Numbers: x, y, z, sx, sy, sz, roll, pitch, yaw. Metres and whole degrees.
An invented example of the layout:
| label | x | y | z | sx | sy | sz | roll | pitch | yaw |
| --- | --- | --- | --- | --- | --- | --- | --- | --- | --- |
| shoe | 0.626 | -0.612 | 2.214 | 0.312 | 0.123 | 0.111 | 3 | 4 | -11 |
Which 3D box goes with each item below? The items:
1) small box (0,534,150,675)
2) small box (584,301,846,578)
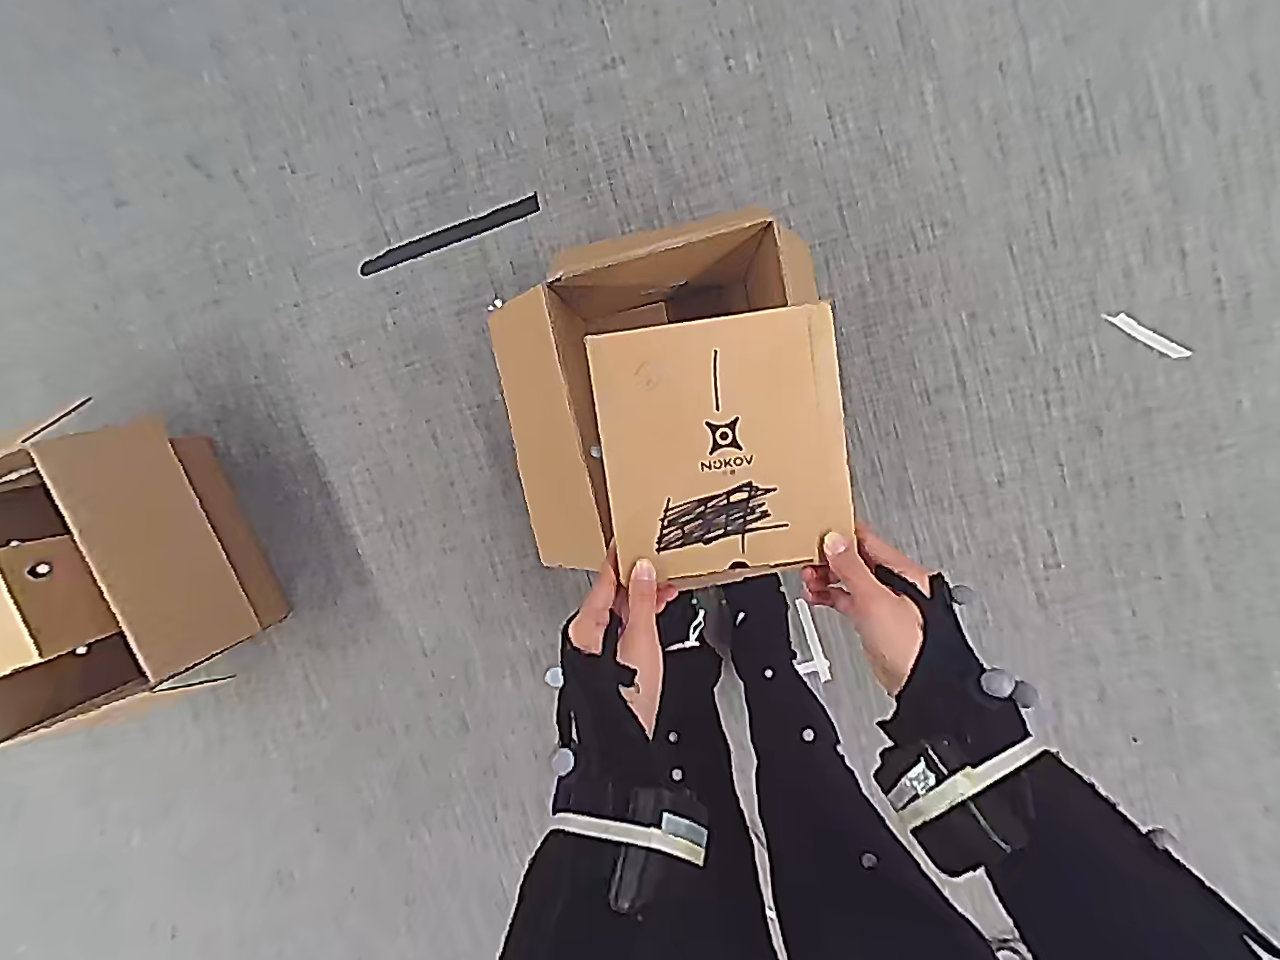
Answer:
| label | x | y | z | sx | sy | sz | roll | pitch | yaw |
| --- | --- | --- | --- | --- | --- | --- | --- | --- | --- |
| small box | -0.957 | 0.194 | 0.863 | 0.168 | 0.176 | 0.179 | -18 | 96 | 7 |
| small box | 0.055 | -0.033 | 0.450 | 0.168 | 0.176 | 0.179 | -8 | 95 | 2 |
